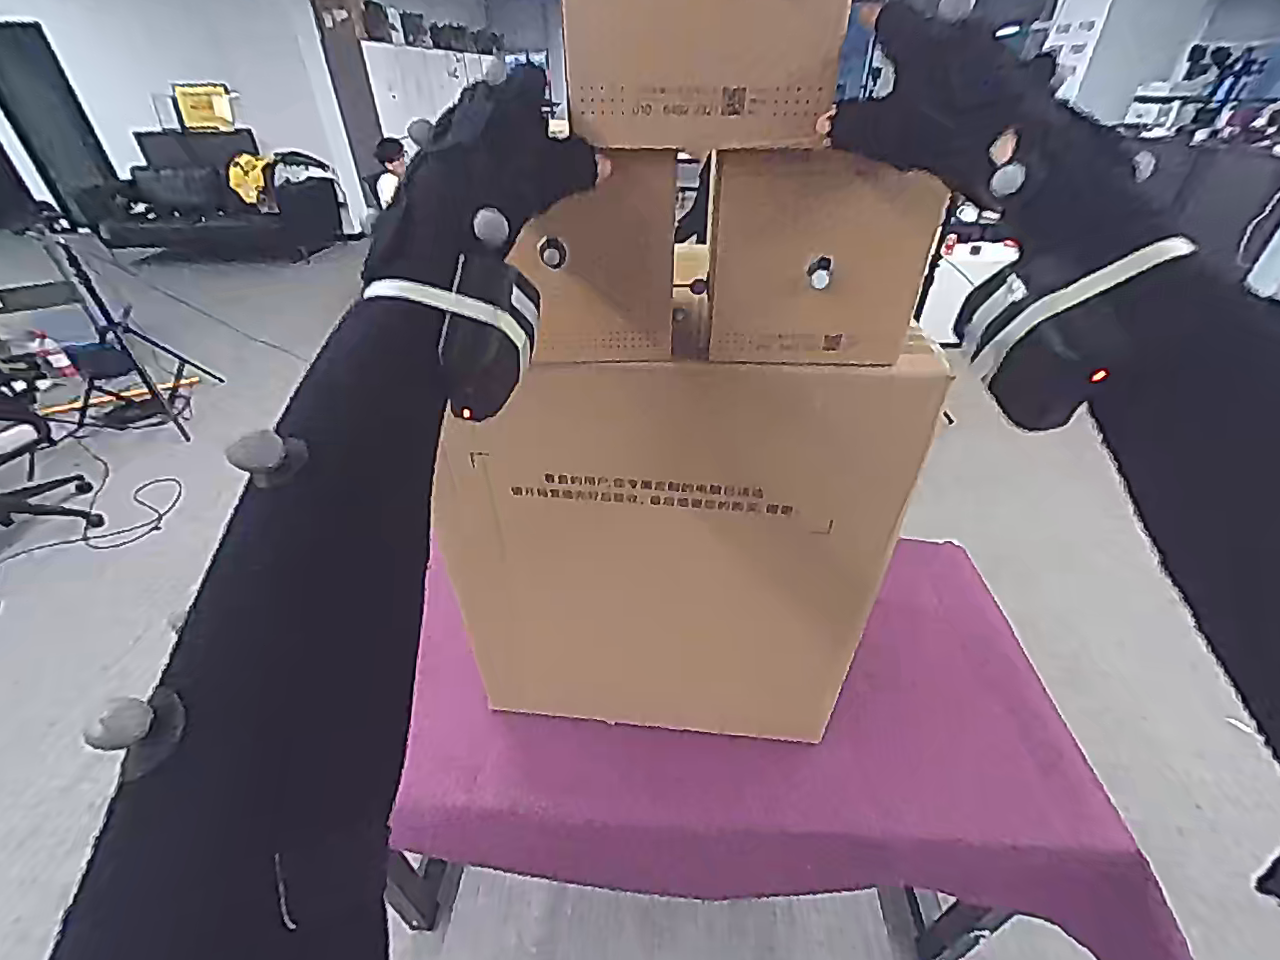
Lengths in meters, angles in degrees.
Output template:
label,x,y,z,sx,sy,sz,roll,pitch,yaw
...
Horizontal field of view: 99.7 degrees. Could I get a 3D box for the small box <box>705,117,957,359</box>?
label,x,y,z,sx,sy,sz,roll,pitch,yaw
small box,0.148,-0.220,0.492,0.168,0.176,0.179,2,38,3

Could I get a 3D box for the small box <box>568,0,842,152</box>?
label,x,y,z,sx,sy,sz,roll,pitch,yaw
small box,0.042,-0.333,0.375,0.168,0.176,0.179,2,37,1

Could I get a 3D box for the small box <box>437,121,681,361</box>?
label,x,y,z,sx,sy,sz,roll,pitch,yaw
small box,-0.058,-0.219,0.494,0.179,0.176,0.168,-2,37,0
